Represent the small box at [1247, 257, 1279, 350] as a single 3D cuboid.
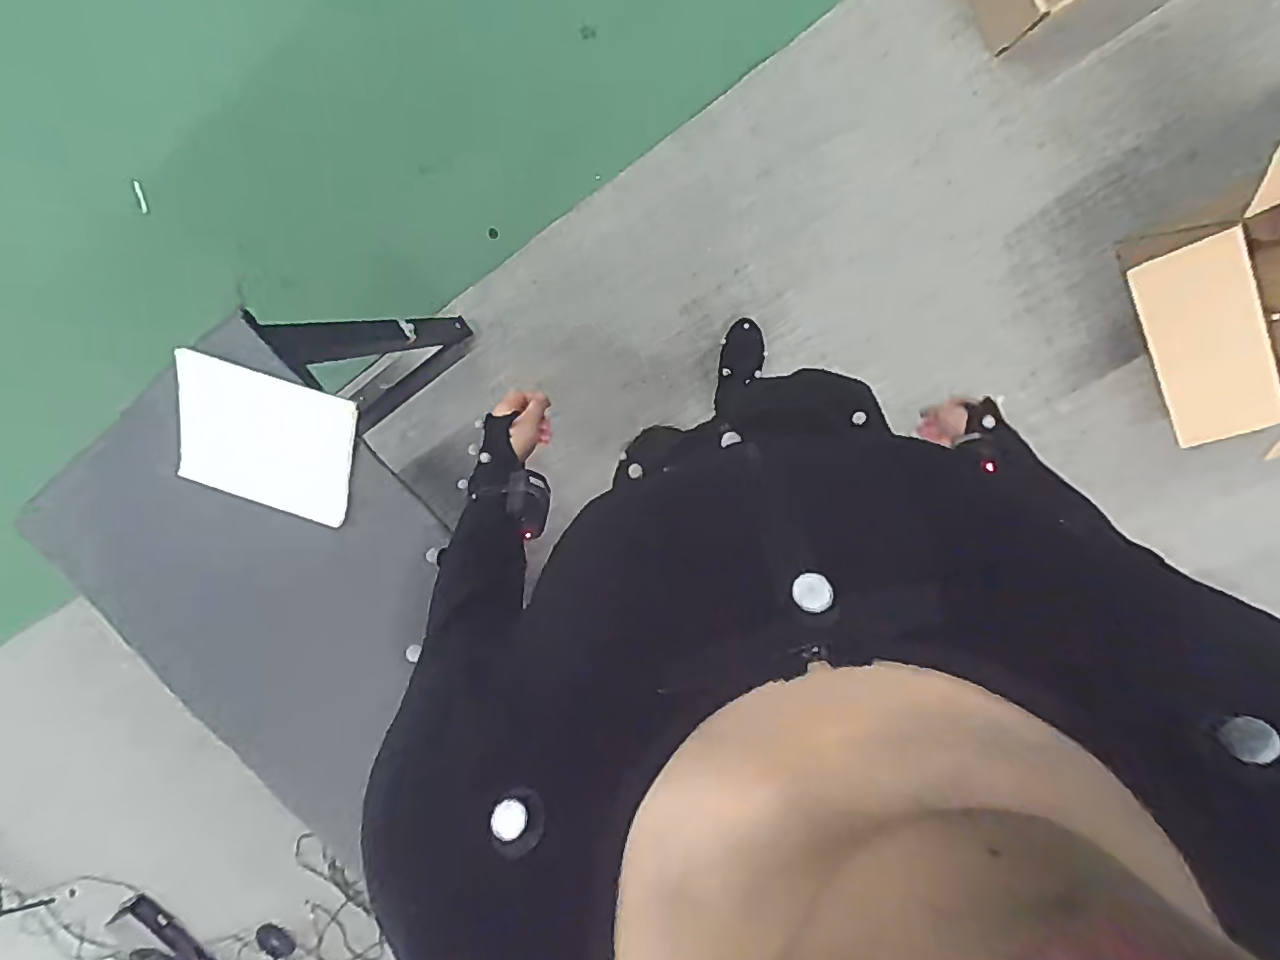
[{"bbox_3d":[1.279,-0.339,0.989,0.179,0.176,0.168,-21,107,12],"label":"small box"}]
